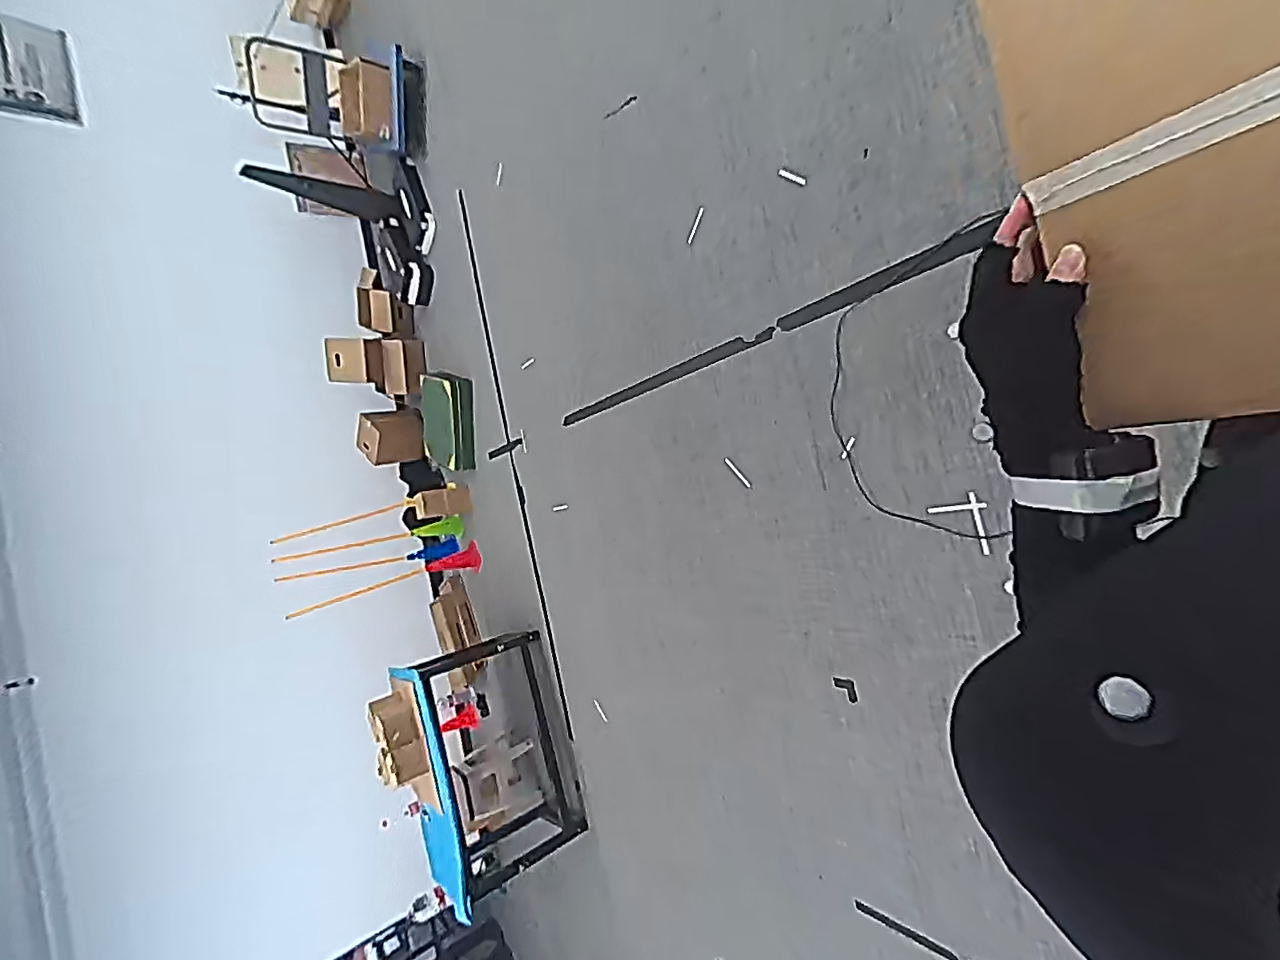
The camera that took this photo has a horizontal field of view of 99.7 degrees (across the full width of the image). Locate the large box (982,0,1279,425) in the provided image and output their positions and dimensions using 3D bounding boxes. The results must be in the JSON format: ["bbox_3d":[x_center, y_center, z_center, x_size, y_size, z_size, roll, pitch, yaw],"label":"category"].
[{"bbox_3d":[0.471,-0.249,0.260,0.408,0.320,0.320,-6,110,56],"label":"large box"}]
